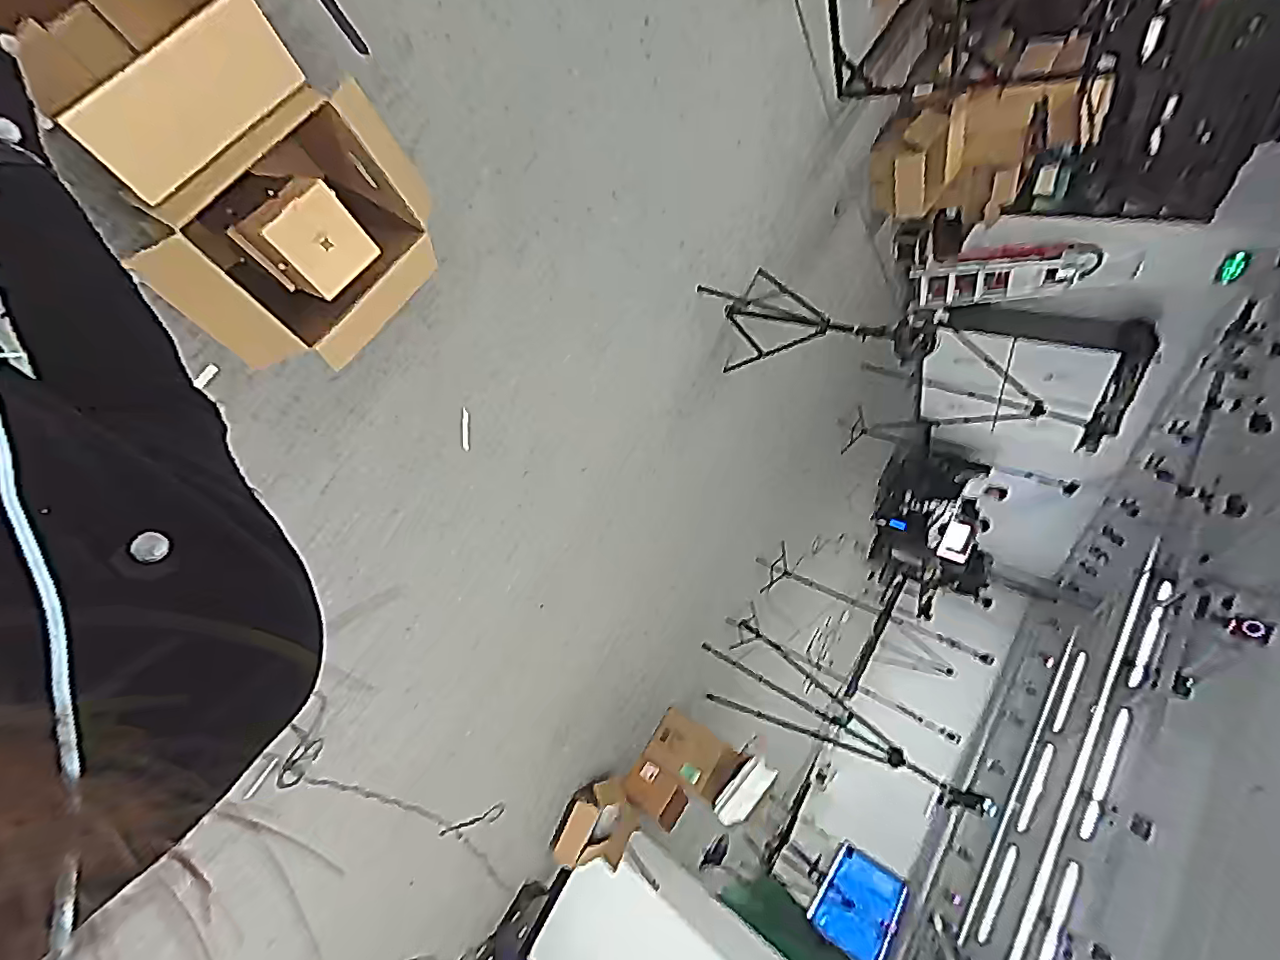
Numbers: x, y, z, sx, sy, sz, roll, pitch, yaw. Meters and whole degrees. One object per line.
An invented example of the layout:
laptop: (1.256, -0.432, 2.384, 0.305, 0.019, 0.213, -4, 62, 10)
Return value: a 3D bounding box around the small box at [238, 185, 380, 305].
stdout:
small box: (-0.721, -0.517, 1.181, 0.168, 0.176, 0.179, -54, 144, -16)
